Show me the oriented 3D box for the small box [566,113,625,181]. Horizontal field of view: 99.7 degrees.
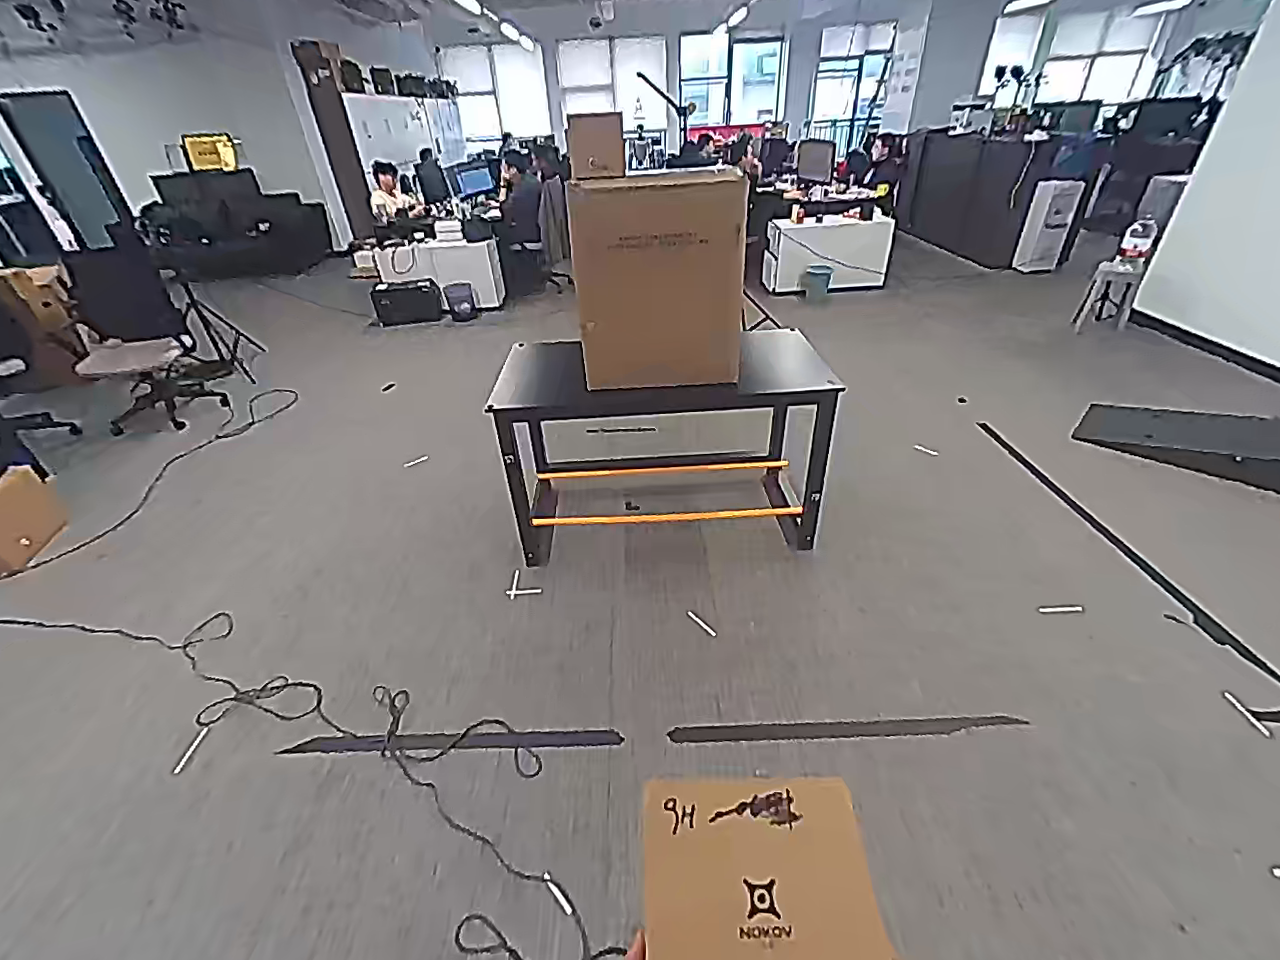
[{"bbox_3d":[-0.136,-1.025,1.669,0.168,0.176,0.179,-6,34,-2],"label":"small box"}]
